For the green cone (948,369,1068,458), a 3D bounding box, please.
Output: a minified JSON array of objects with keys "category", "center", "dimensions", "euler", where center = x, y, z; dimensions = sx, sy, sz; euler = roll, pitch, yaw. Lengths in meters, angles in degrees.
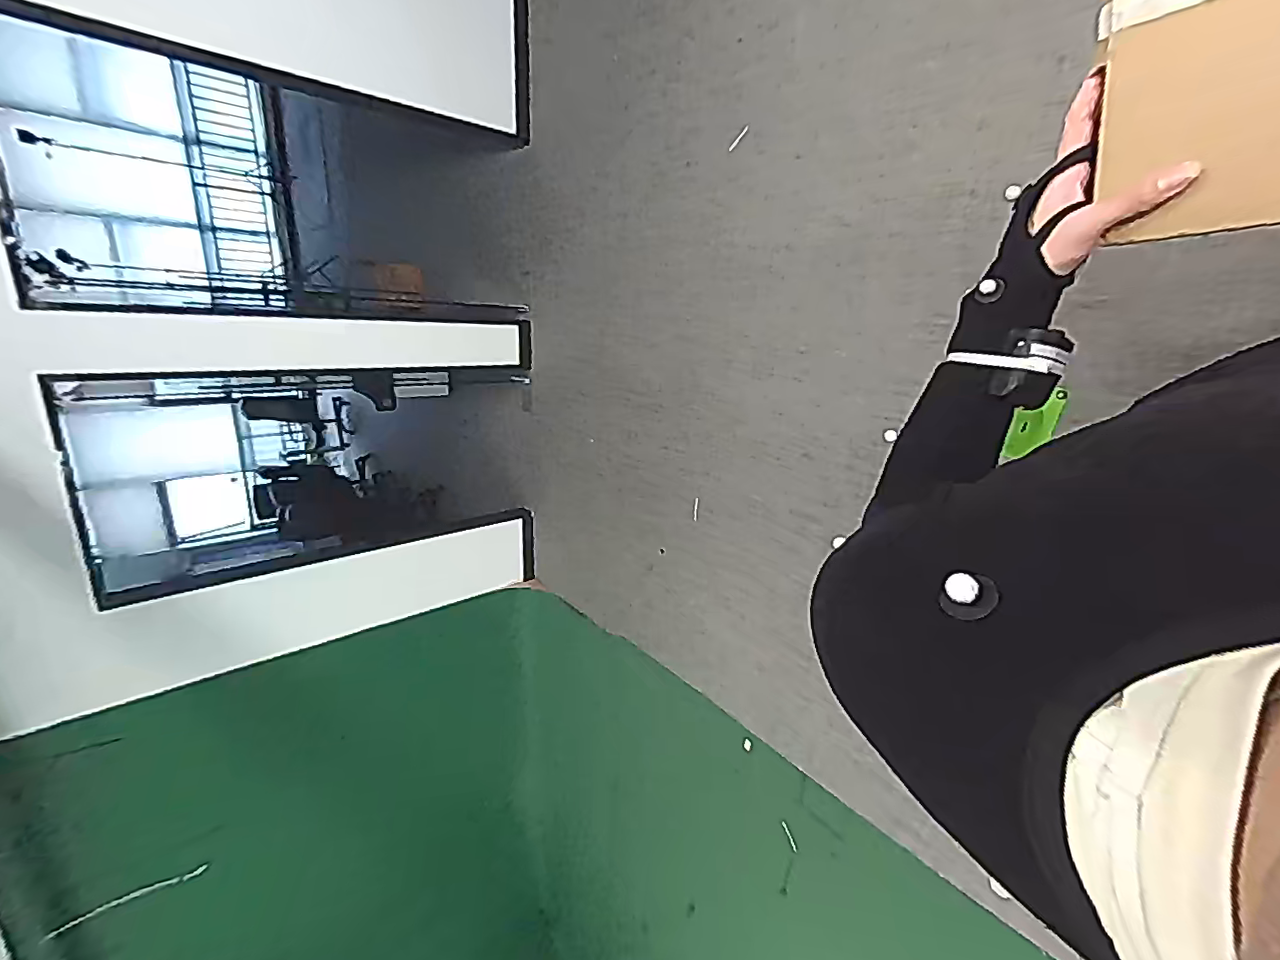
[{"category":"green cone","center":[0.835,-0.146,1.301],"dimensions":[0.200,0.368,0.202],"euler":[29,122,44]}]
